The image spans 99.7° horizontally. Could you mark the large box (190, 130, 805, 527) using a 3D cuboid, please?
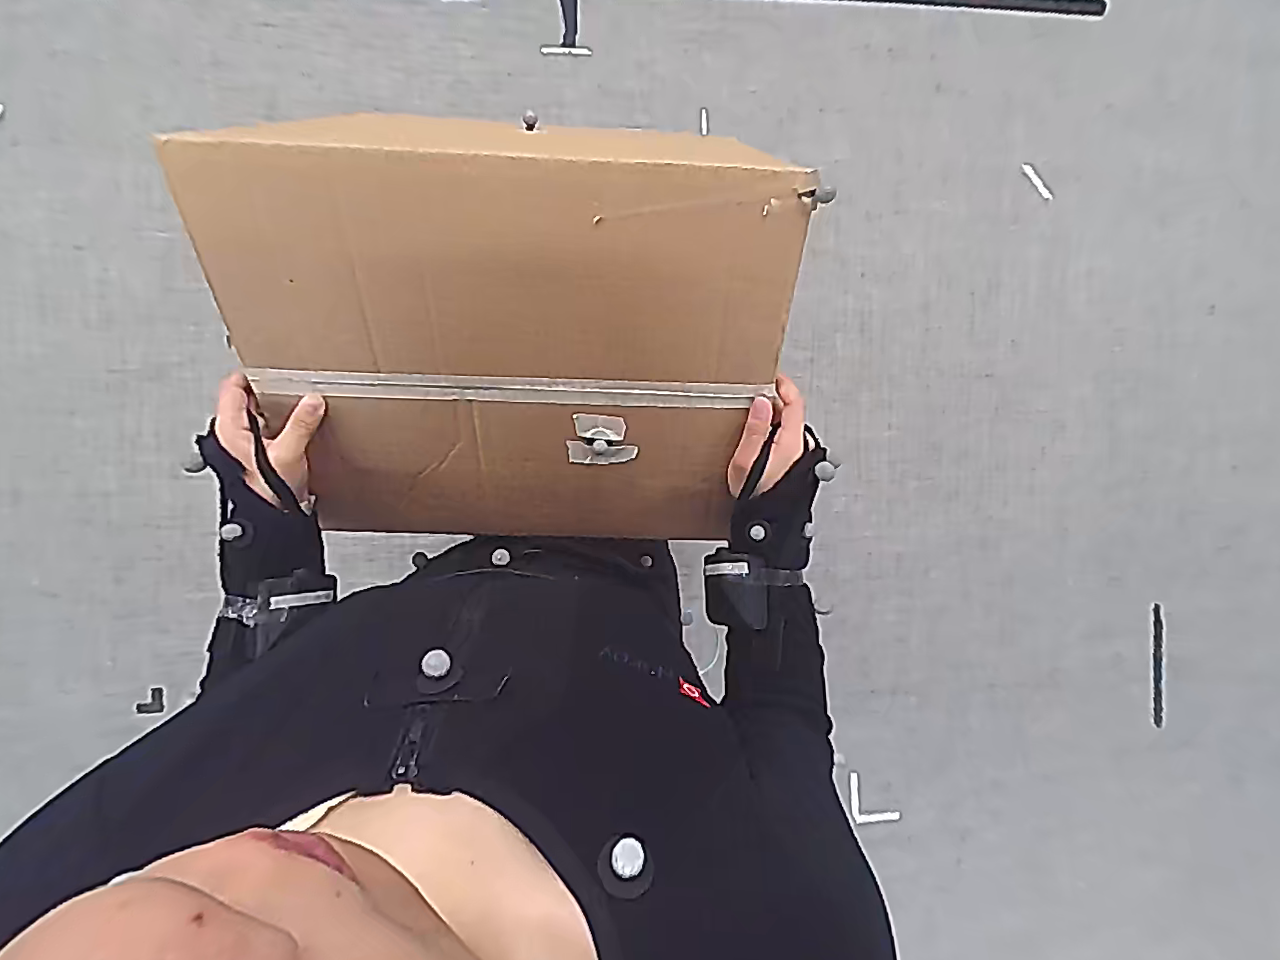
[{"bbox_3d":[-0.099,-0.167,0.554,0.408,0.320,0.320,1,127,-3],"label":"large box"}]
